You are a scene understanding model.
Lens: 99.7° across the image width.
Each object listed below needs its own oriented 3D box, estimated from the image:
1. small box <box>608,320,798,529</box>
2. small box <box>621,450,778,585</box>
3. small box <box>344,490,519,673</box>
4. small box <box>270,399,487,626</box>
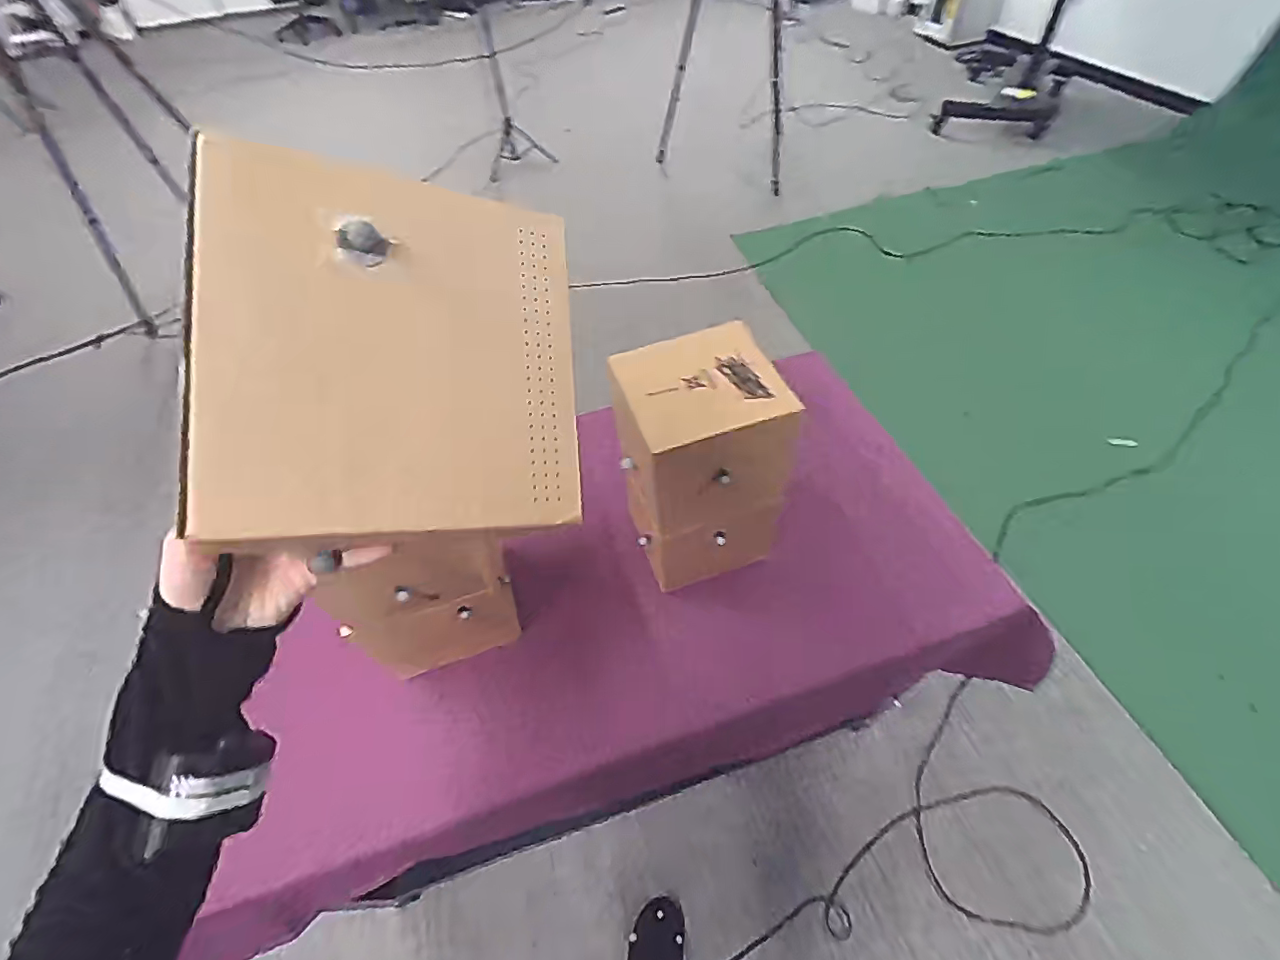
[{"bbox_3d":[0.071,-0.066,0.681,0.179,0.176,0.168,-18,54,-7],"label":"small box"},{"bbox_3d":[0.084,0.034,0.810,0.179,0.176,0.168,-17,54,-8],"label":"small box"},{"bbox_3d":[-0.288,0.146,0.759,0.179,0.176,0.168,-18,53,-10],"label":"small box"},{"bbox_3d":[-0.293,0.040,0.633,0.168,0.176,0.179,-19,53,-9],"label":"small box"}]
